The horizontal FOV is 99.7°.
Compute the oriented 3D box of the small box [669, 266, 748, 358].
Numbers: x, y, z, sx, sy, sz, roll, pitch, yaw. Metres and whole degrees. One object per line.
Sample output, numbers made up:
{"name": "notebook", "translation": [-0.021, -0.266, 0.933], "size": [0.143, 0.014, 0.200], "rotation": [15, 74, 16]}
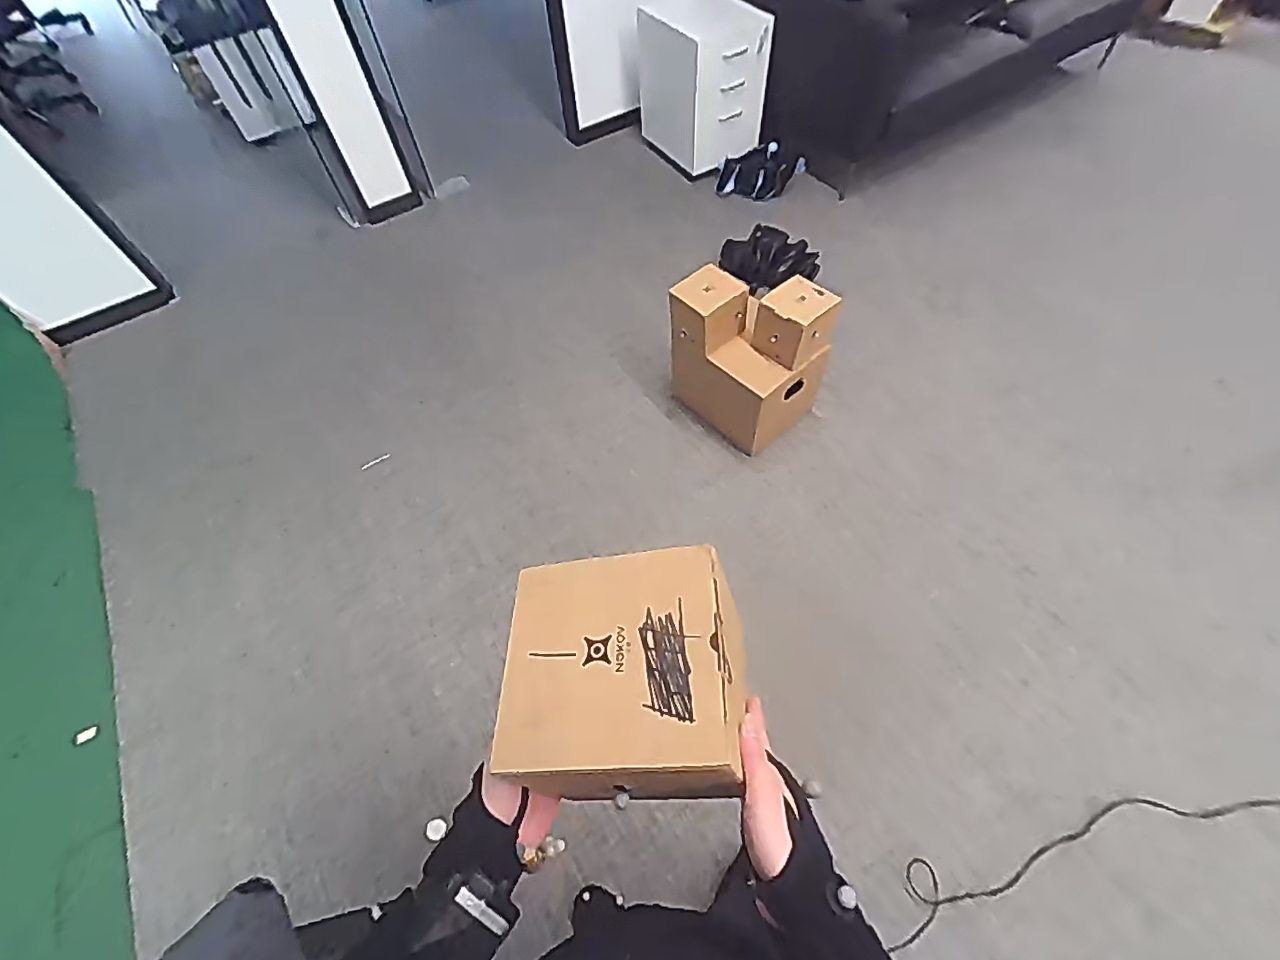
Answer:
{"name": "small box", "translation": [0.210, -0.516, 1.669], "size": [0.179, 0.176, 0.168], "rotation": [-38, 61, -14]}

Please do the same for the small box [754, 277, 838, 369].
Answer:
{"name": "small box", "translation": [0.457, -0.464, 1.614], "size": [0.179, 0.176, 0.168], "rotation": [-39, 63, -20]}

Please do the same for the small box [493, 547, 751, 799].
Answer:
{"name": "small box", "translation": [0.000, 0.177, 0.478], "size": [0.179, 0.176, 0.168], "rotation": [-10, 52, 14]}
